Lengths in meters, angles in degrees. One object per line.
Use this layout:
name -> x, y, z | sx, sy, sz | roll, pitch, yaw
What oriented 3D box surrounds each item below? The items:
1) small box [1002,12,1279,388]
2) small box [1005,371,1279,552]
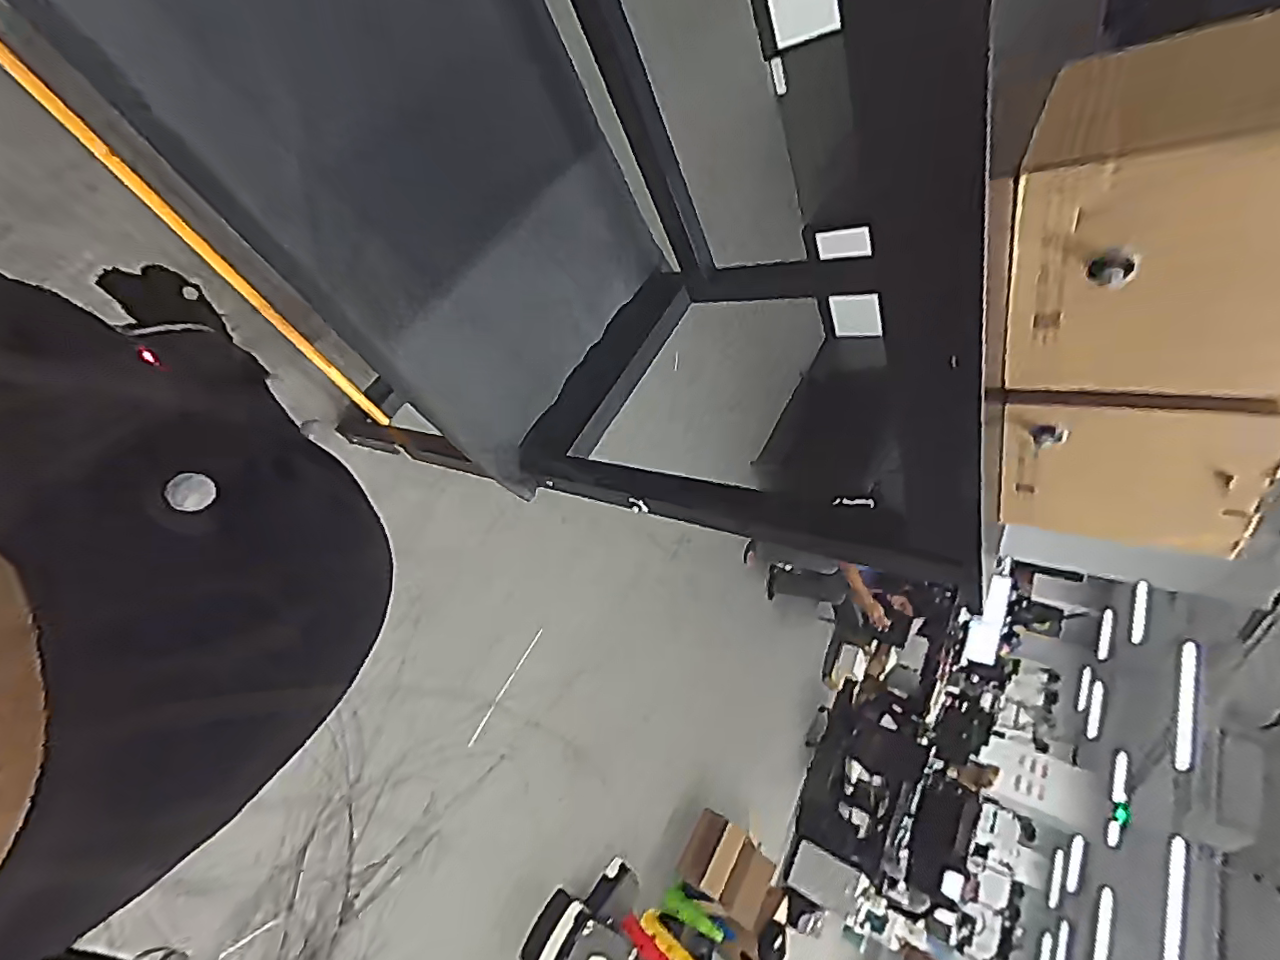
small box -> 0.362, -0.183, 0.360 | 0.179, 0.176, 0.168 | -54, 136, -27
small box -> 0.437, -0.066, 0.479 | 0.179, 0.176, 0.168 | -56, 136, -28
